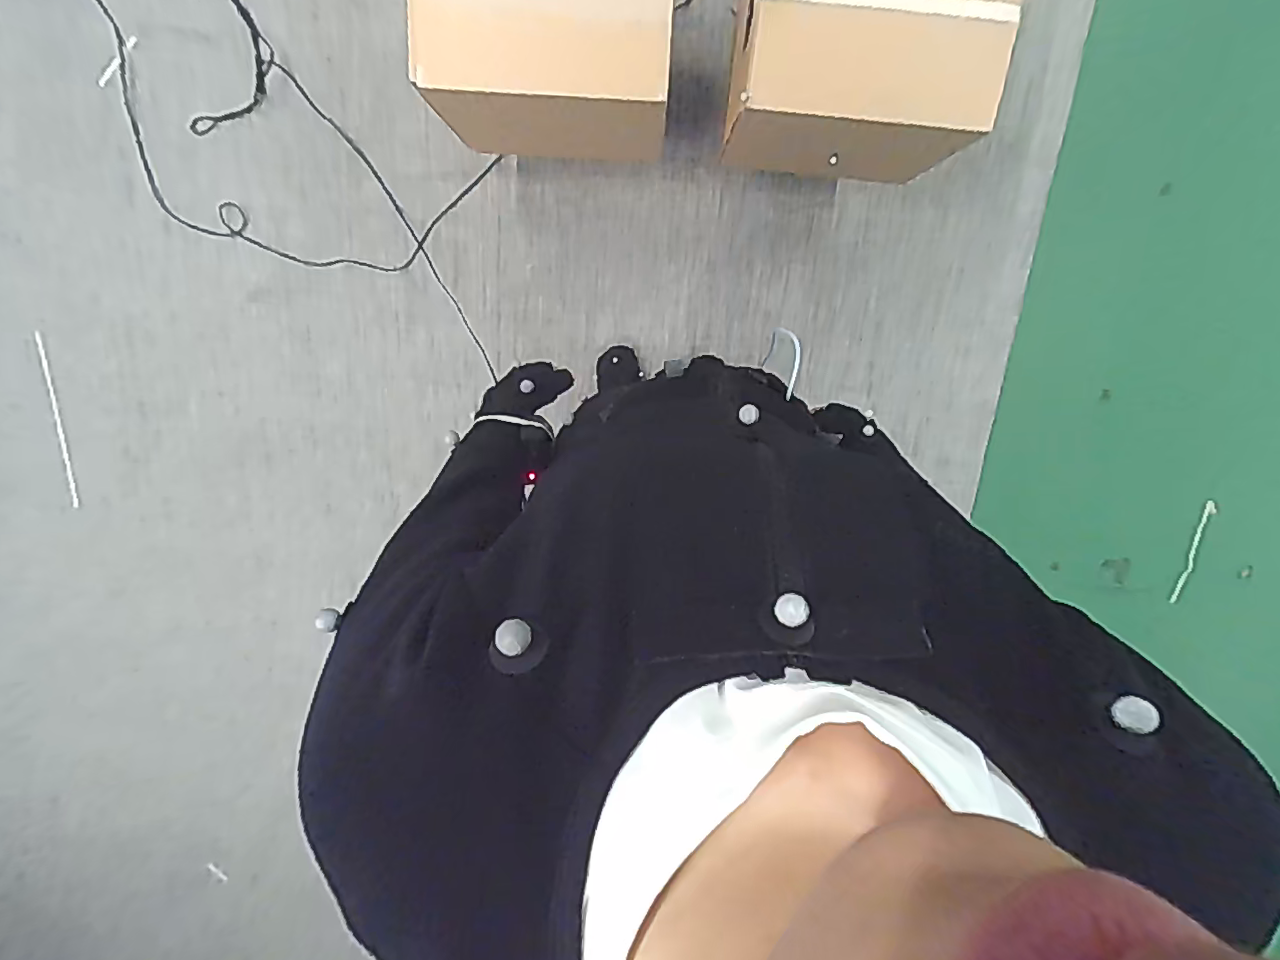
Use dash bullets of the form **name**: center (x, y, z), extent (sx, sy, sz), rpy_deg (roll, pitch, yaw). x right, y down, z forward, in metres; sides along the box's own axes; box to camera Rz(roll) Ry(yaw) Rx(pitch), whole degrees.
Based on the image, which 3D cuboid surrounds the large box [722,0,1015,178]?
- **large box**: center (0.385, -0.771, 0.987), extent (0.408, 0.320, 0.320), rpy_deg (6, 105, -1)
